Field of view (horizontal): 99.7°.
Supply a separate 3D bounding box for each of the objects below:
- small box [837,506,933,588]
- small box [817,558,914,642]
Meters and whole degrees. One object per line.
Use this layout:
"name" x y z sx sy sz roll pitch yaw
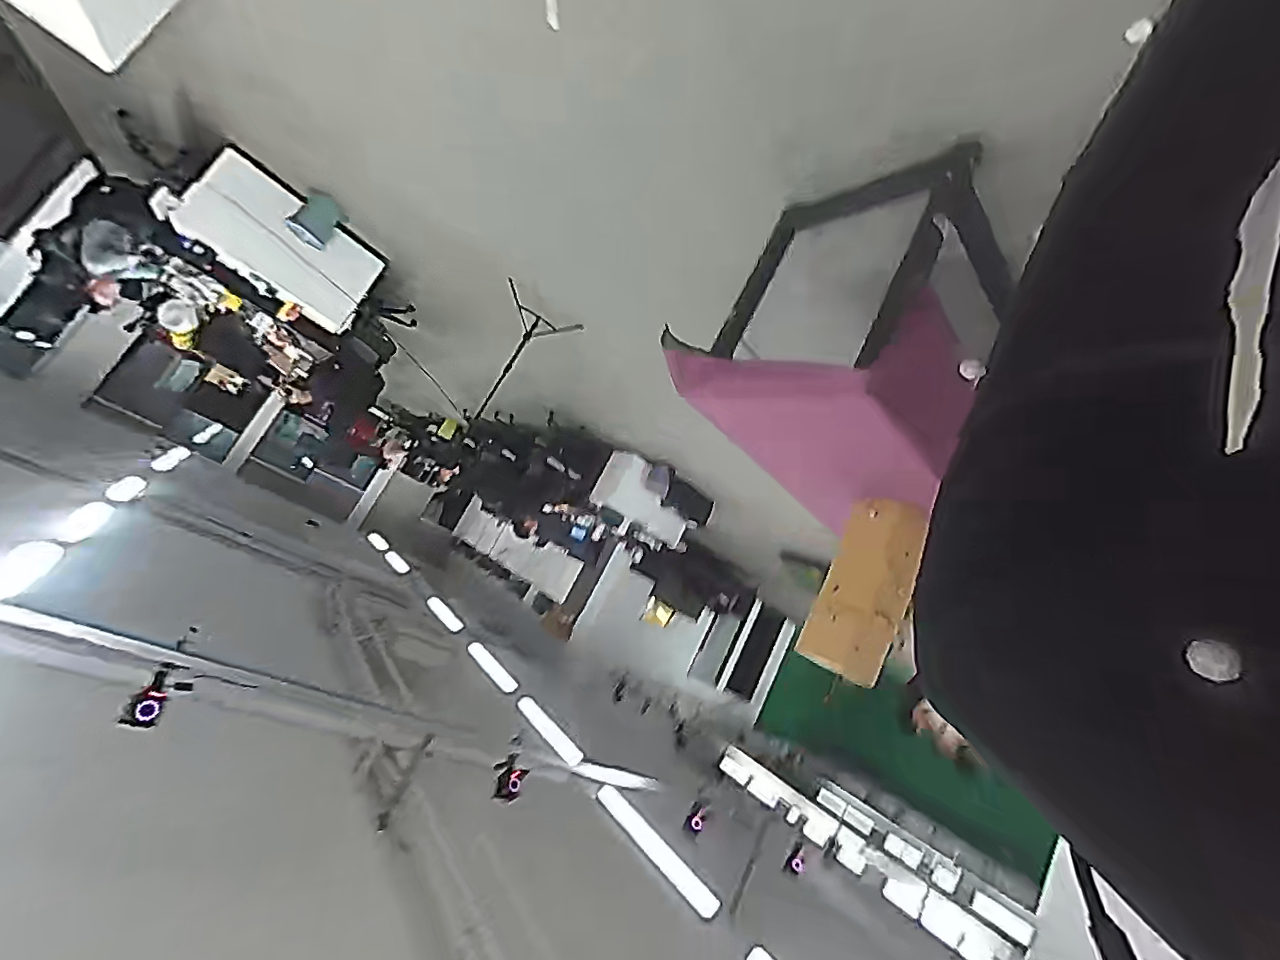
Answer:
"small box" 0.733 0.194 1.611 0.179 0.176 0.168 35 166 -23
"small box" 0.666 0.345 1.594 0.168 0.176 0.179 35 166 -29
